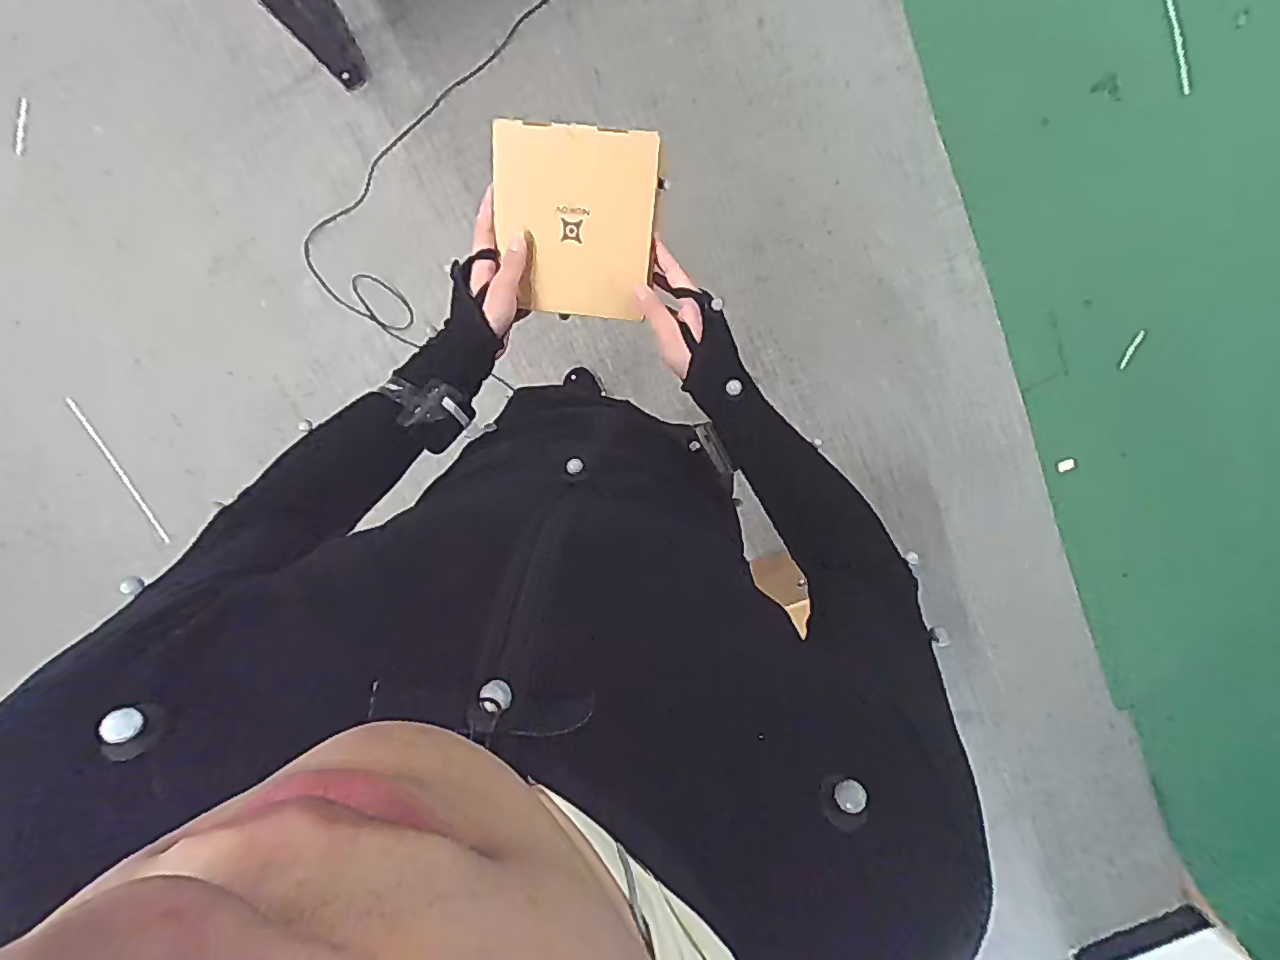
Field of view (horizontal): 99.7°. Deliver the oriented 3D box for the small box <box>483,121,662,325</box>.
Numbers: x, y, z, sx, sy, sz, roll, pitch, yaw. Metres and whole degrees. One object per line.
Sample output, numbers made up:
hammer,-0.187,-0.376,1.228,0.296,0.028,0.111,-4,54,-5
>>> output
small box,-0.068,-0.283,0.615,0.168,0.176,0.179,7,112,4
